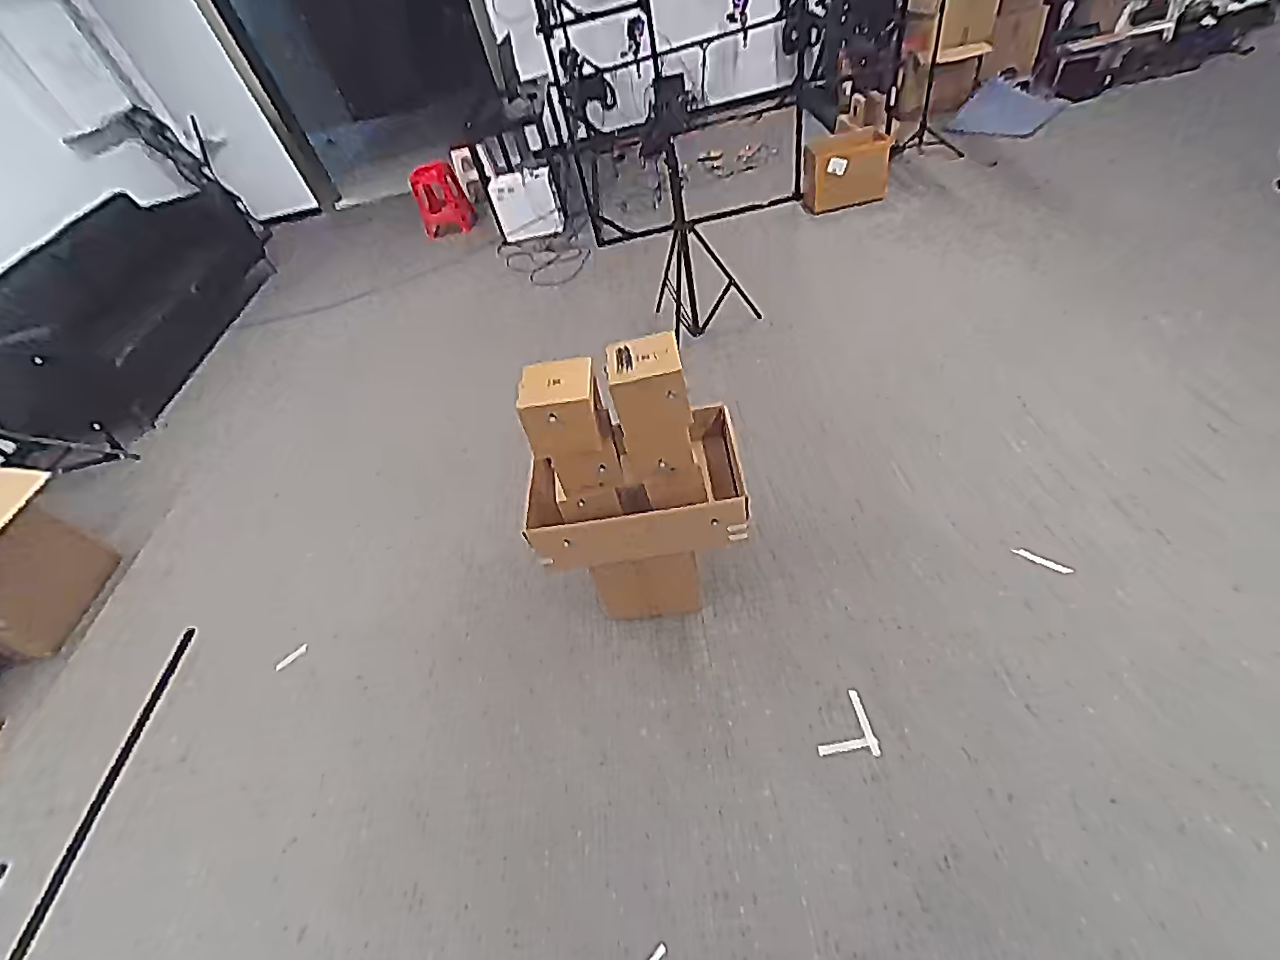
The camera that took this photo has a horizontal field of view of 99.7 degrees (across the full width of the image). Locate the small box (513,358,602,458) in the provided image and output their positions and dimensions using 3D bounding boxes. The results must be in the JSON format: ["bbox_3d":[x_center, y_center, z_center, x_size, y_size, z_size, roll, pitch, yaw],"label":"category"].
[{"bbox_3d":[-0.194,-0.174,1.337,0.179,0.176,0.168,-8,47,6],"label":"small box"}]

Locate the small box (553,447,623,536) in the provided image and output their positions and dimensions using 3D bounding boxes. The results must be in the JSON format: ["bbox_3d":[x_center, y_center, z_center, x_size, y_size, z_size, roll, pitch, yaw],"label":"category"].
[{"bbox_3d":[-0.151,0.035,1.583,0.168,0.176,0.179,-13,46,2],"label":"small box"}]
